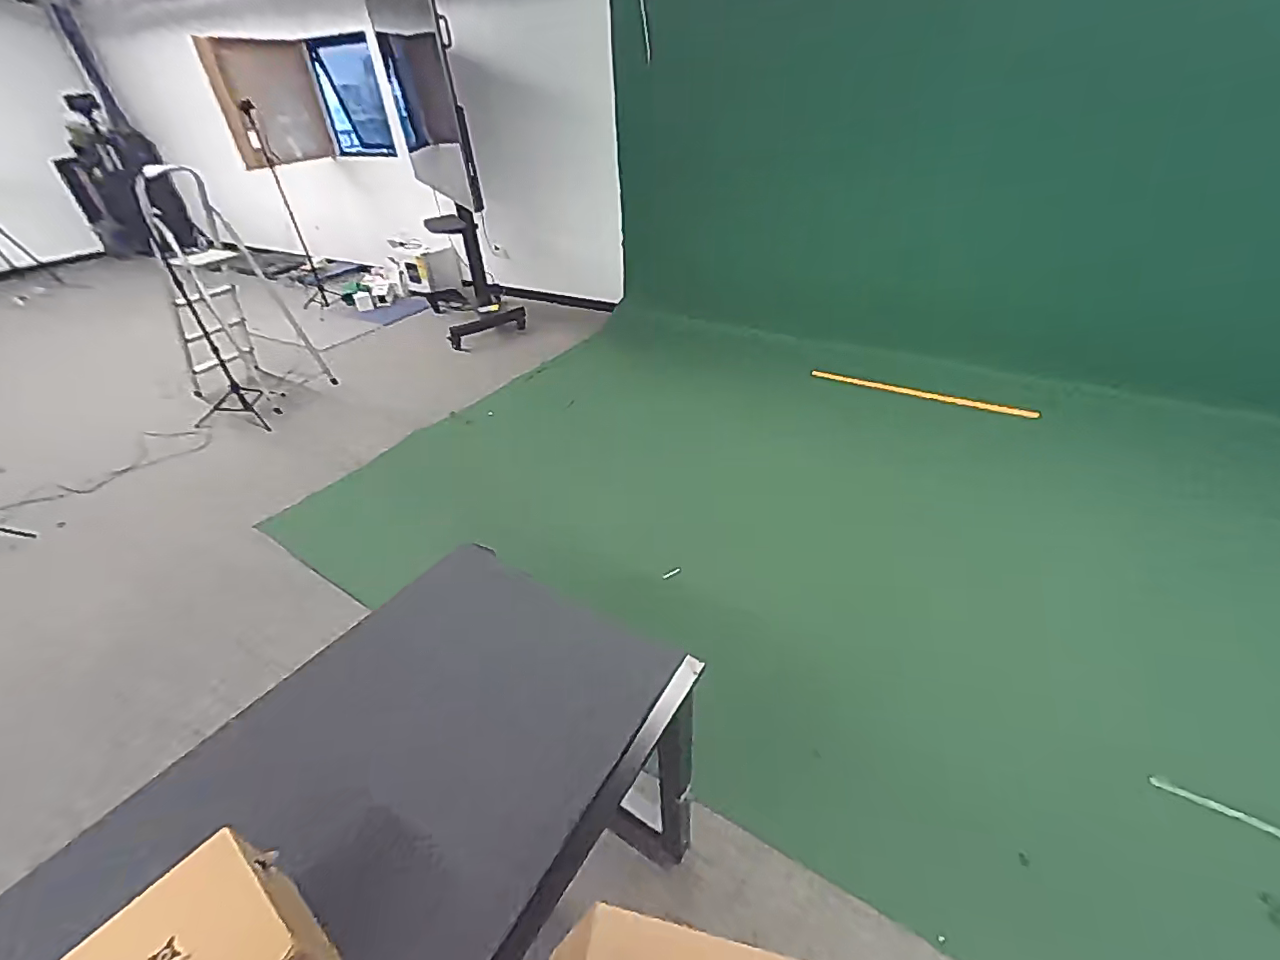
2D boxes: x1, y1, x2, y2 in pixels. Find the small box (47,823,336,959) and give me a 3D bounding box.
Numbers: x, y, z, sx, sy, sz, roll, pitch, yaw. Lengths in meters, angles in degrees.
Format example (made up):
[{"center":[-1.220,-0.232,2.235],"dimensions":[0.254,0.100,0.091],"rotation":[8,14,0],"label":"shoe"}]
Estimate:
[{"center":[-0.430,0.502,0.536],"dimensions":[0.179,0.176,0.168],"rotation":[22,43,32],"label":"small box"}]
